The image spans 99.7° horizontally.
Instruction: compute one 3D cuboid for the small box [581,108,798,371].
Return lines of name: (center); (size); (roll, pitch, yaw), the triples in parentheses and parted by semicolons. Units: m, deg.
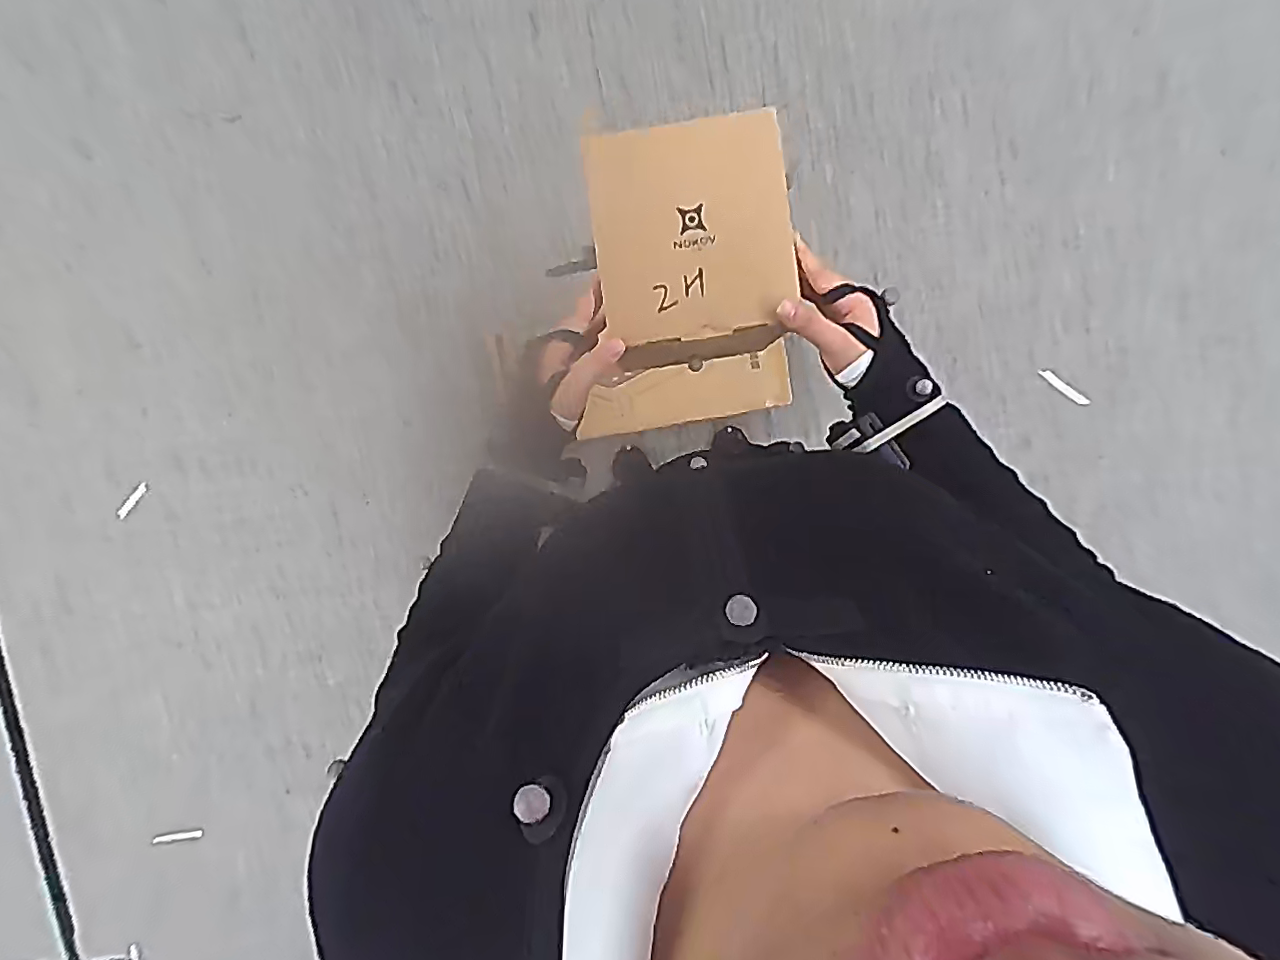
small box: (0.042, -0.215, 0.529); (0.168, 0.176, 0.179); (-8, 94, 2)
